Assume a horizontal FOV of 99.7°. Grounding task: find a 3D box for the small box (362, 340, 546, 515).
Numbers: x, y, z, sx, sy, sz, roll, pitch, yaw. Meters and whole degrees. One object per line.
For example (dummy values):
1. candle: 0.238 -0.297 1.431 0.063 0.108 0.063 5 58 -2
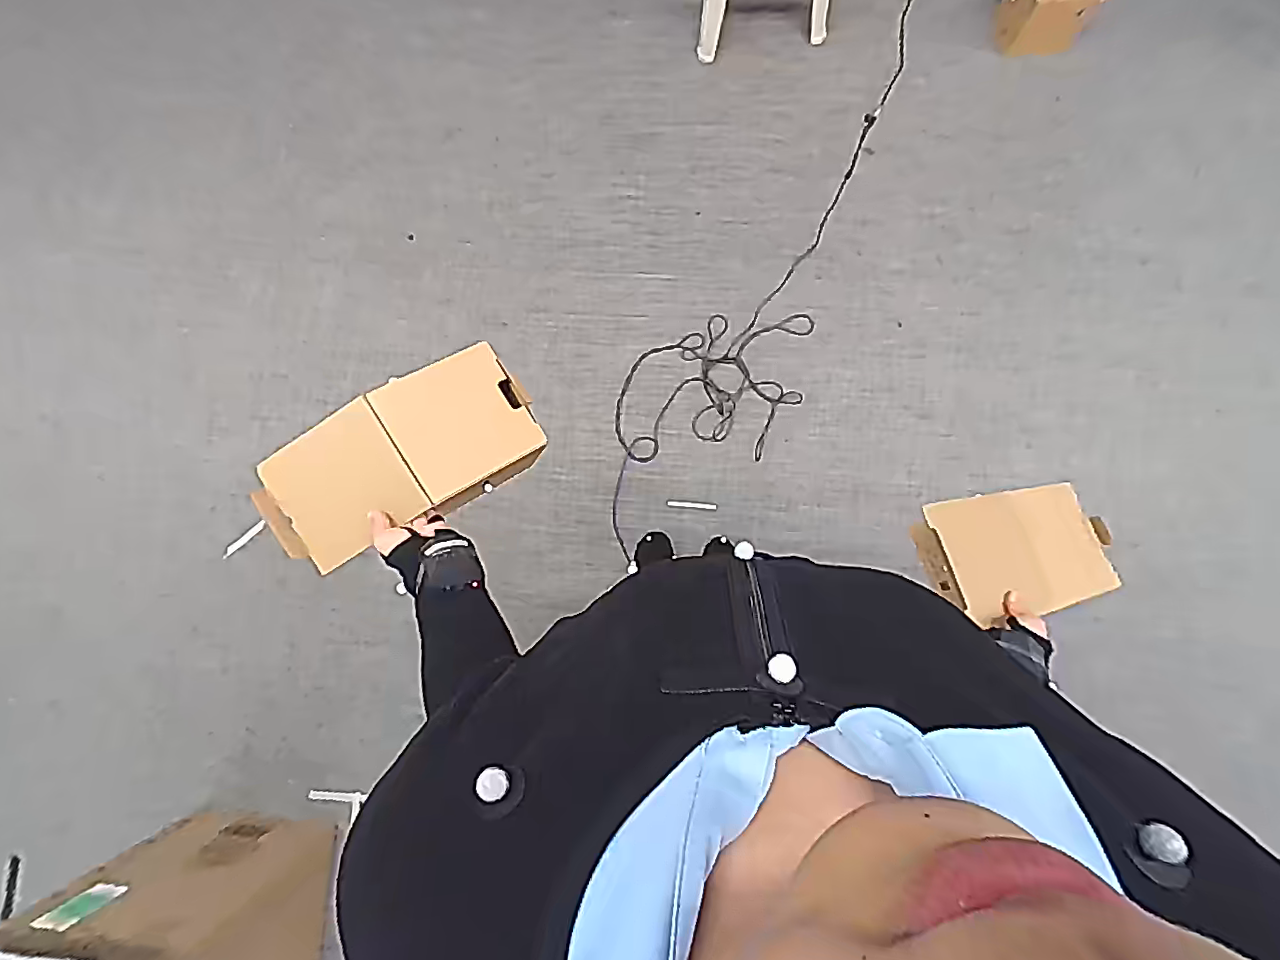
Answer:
1. small box: -0.259 -0.065 0.770 0.179 0.176 0.168 -32 92 -22
